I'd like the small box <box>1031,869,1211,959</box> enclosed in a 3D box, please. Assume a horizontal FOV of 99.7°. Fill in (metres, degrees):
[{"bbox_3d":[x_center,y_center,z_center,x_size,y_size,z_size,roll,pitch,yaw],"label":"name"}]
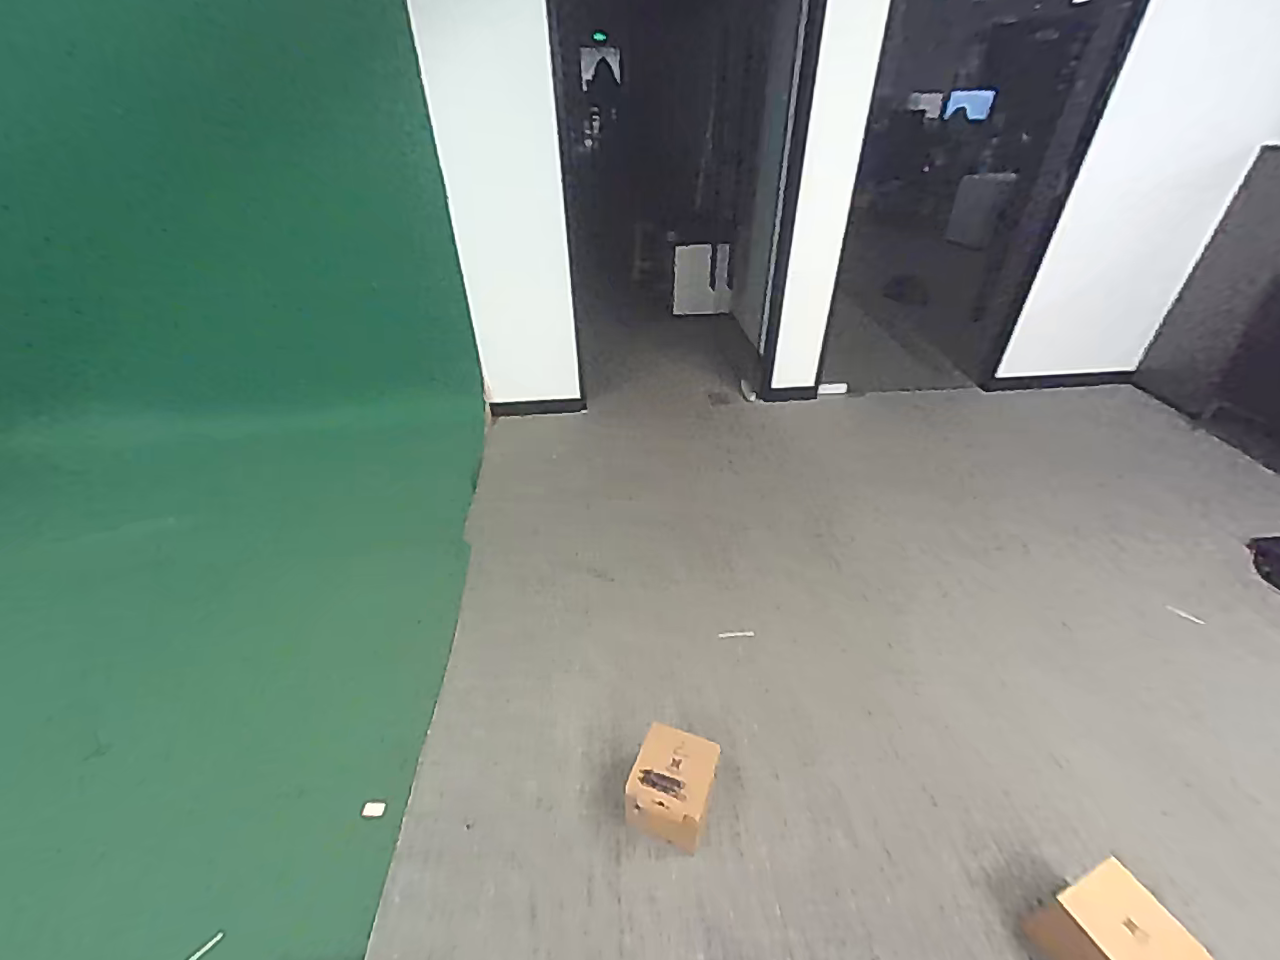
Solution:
[{"bbox_3d":[0.870,0.866,0.984,0.168,0.176,0.179,-15,39,-19],"label":"small box"}]
